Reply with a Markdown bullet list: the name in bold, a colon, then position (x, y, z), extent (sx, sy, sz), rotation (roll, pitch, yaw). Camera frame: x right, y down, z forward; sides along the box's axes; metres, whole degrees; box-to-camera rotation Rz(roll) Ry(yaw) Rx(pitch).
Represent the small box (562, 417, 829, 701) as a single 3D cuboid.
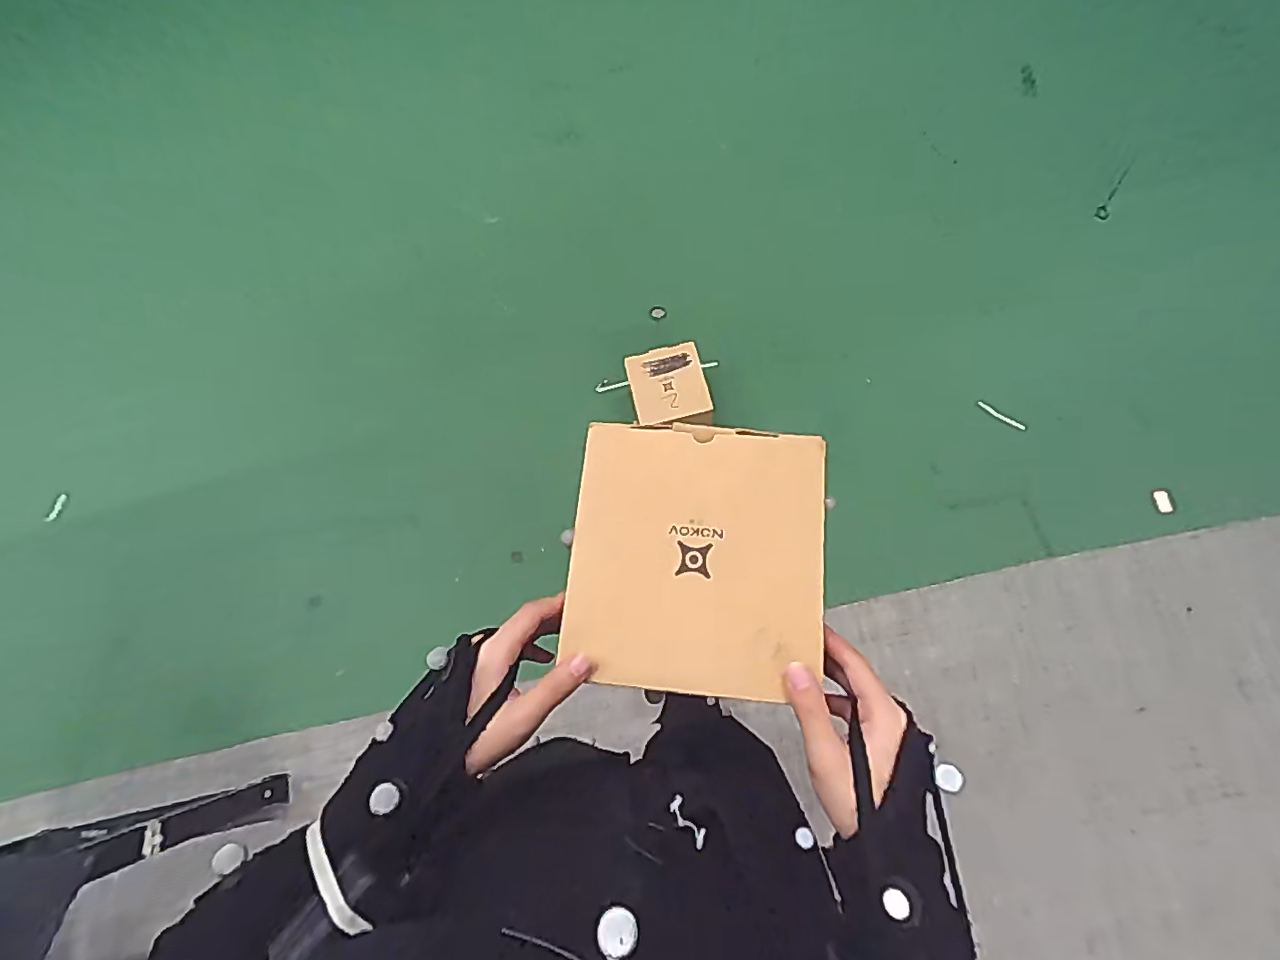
- **small box**: position (0.046, 0.065, 0.429), extent (0.168, 0.176, 0.179), rotation (4, 74, 5)
